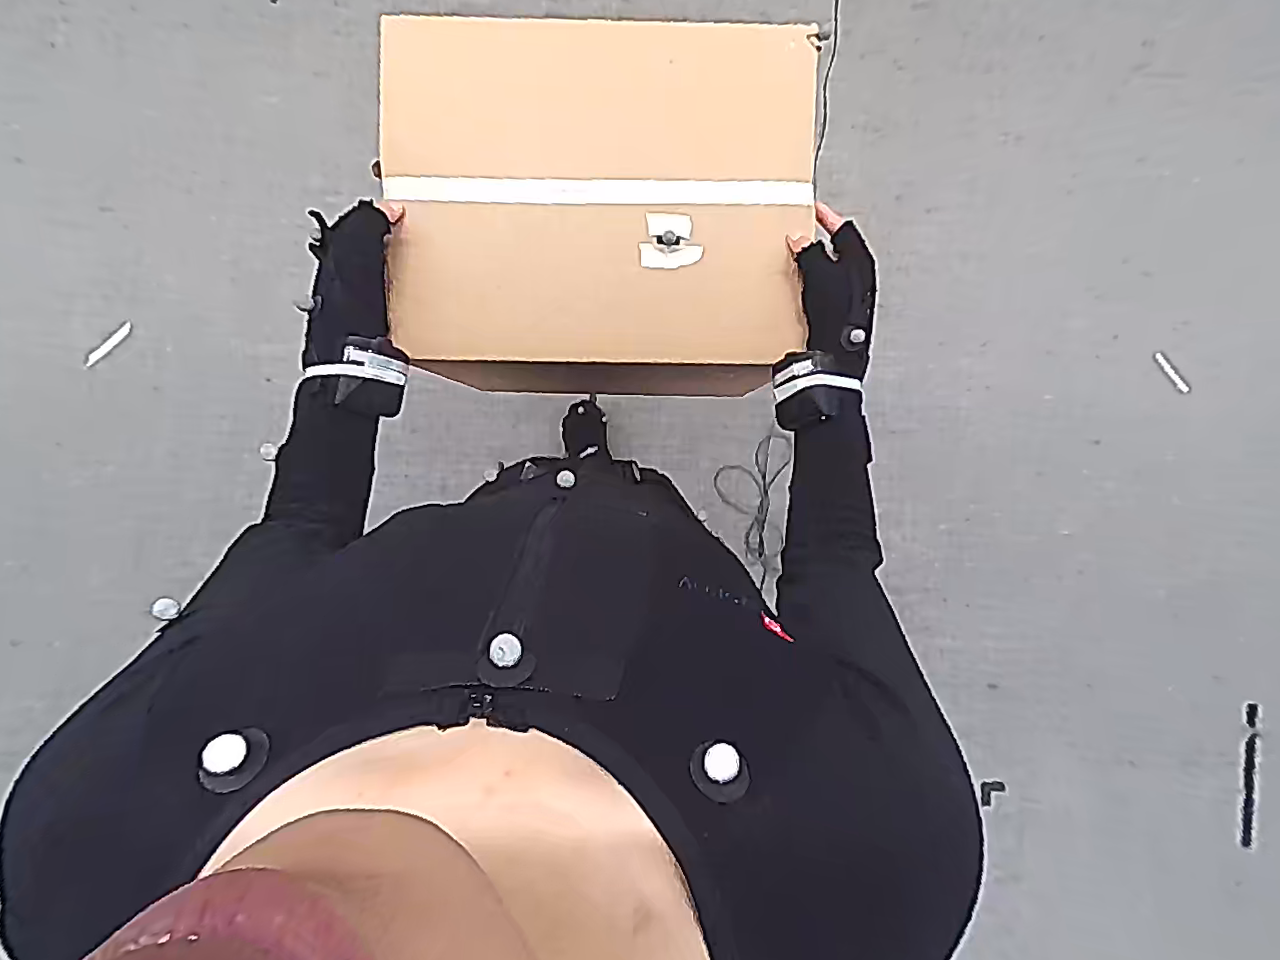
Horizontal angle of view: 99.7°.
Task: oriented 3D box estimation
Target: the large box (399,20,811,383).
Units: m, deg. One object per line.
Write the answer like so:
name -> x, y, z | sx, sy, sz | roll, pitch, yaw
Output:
large box -> -0.038, -0.295, 0.676 | 0.408, 0.320, 0.320 | 1, 94, -1
